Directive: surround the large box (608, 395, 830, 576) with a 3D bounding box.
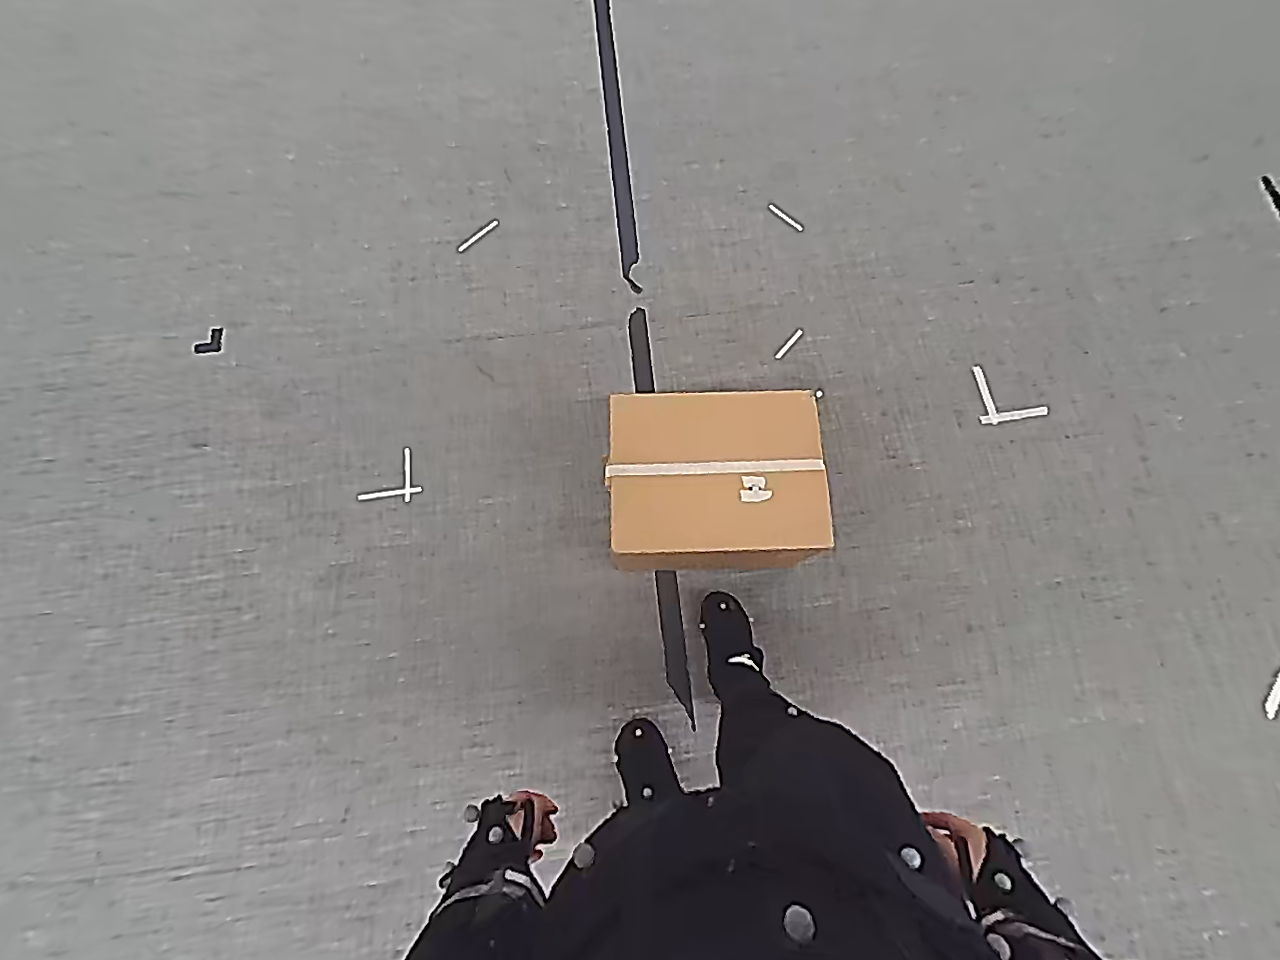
[{"bbox_3d":[0.140,0.028,1.160,0.408,0.320,0.320,-2,75,-1],"label":"large box"}]
